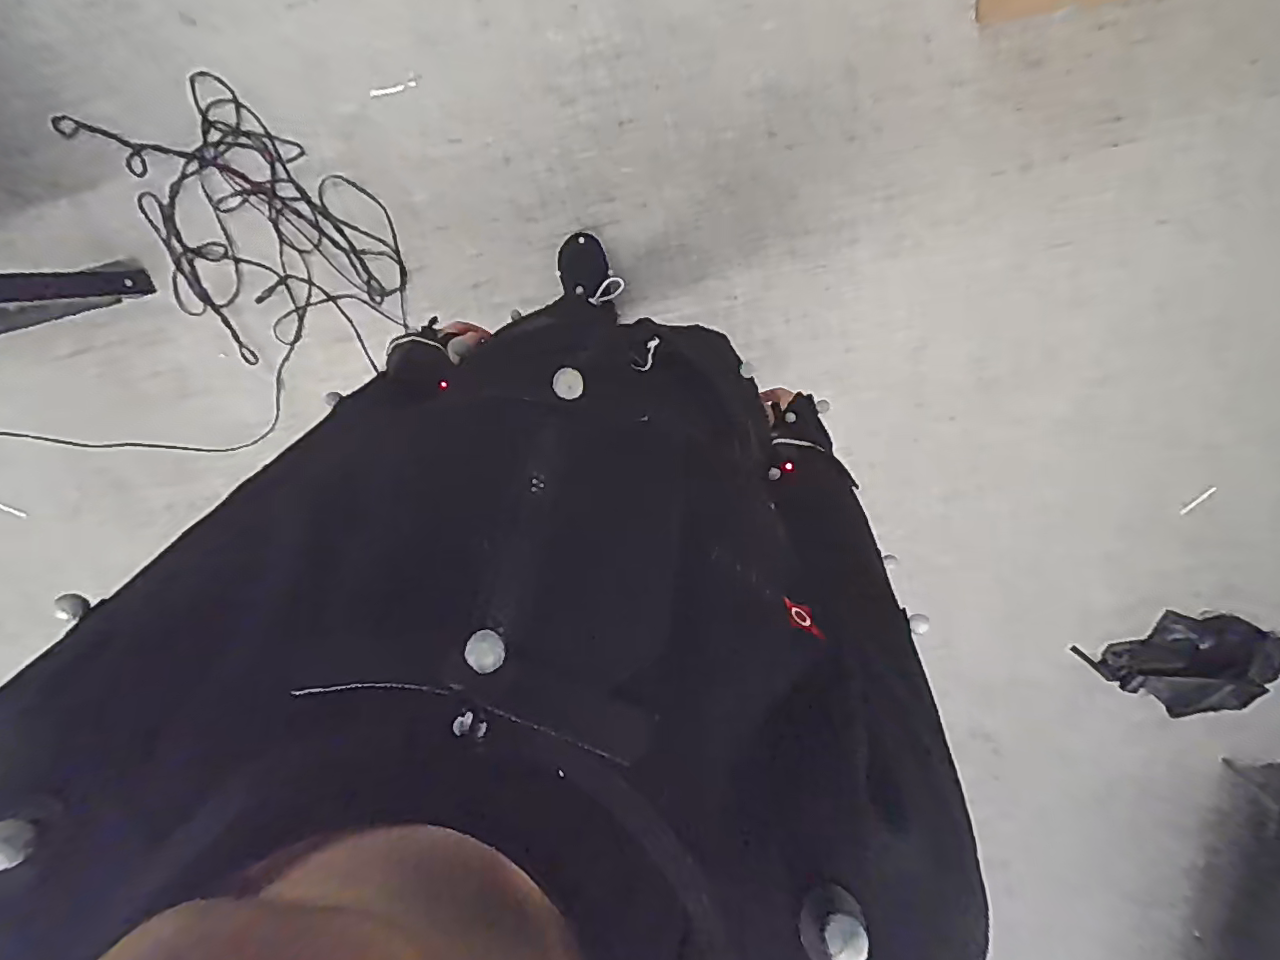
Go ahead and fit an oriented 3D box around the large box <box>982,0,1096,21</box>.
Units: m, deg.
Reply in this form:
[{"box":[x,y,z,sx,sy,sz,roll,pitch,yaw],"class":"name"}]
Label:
[{"box":[0.772,-1.026,0.822,0.320,0.320,0.408,-7,113,5],"class":"large box"}]
